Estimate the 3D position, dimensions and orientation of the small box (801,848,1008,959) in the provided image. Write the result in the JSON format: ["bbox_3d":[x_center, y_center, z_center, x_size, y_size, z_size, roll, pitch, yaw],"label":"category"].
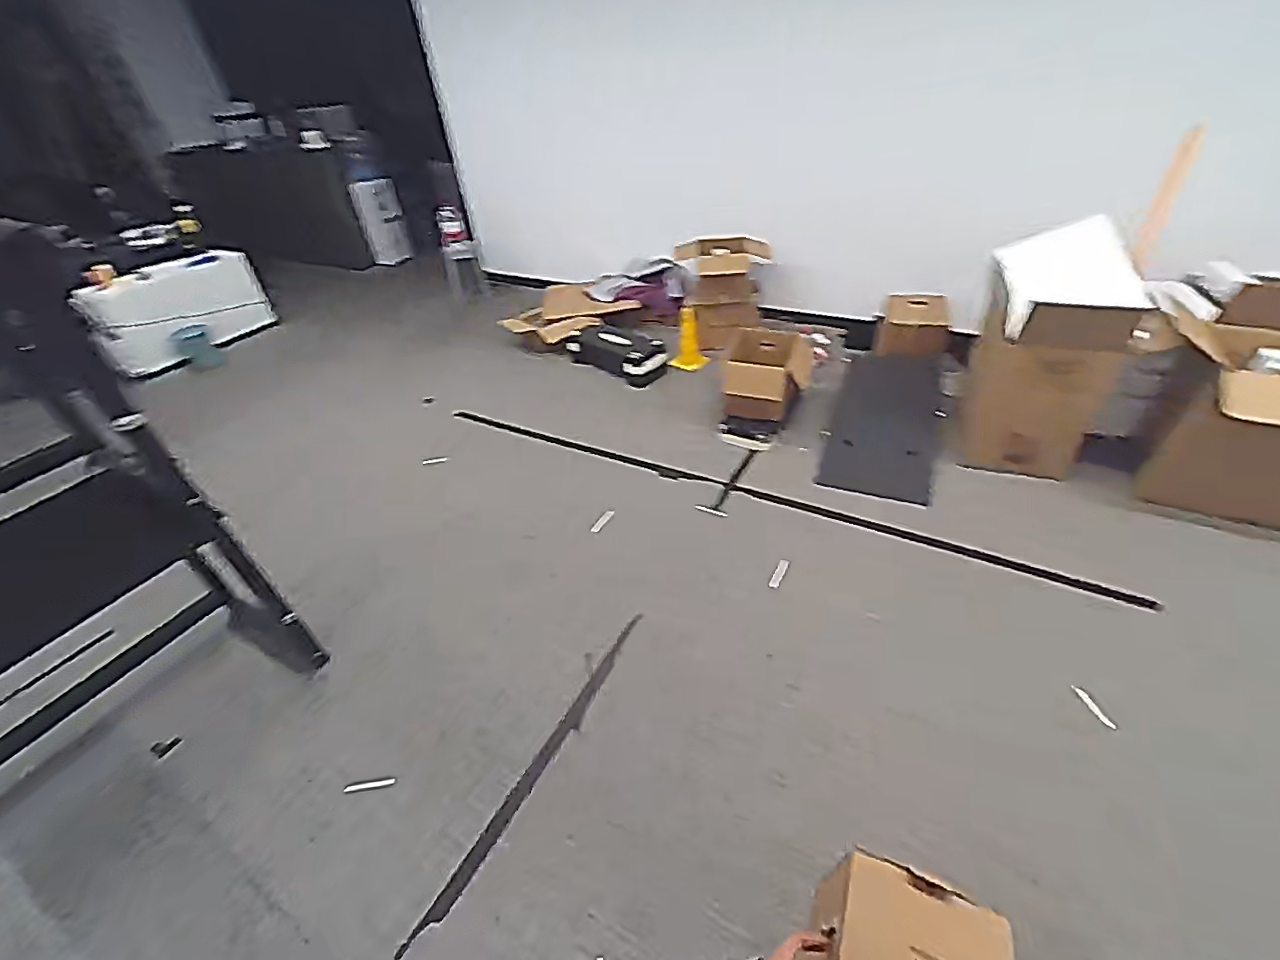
[{"bbox_3d":[0.270,0.553,0.580,0.168,0.176,0.179,19,39,17],"label":"small box"}]
